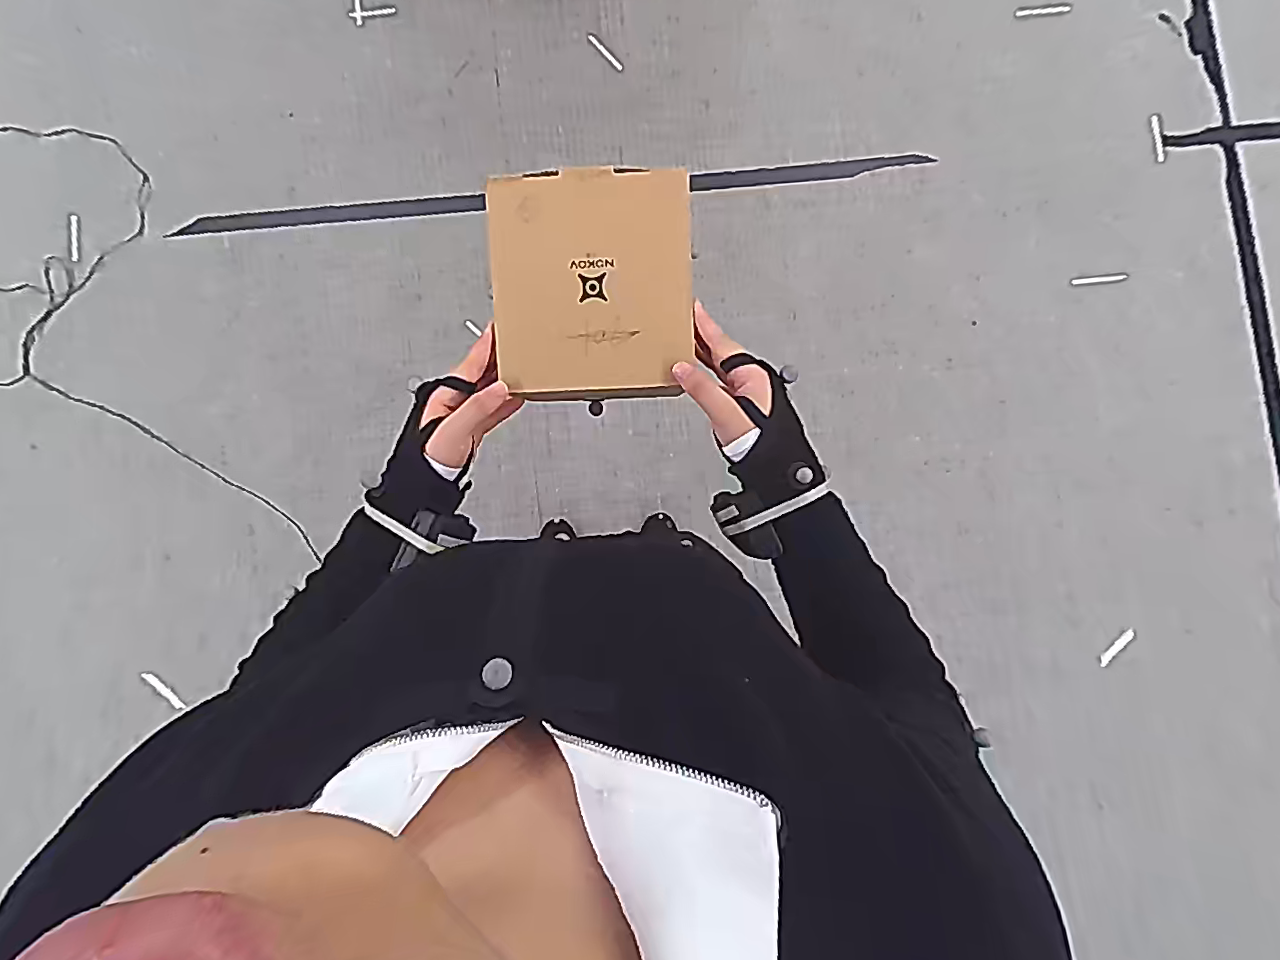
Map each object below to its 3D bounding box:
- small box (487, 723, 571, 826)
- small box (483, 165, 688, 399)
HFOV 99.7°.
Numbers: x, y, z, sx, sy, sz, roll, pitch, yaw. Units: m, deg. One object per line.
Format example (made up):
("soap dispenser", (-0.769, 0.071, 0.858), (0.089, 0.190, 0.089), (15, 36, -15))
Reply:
("small box", (-0.259, 0.704, 1.292), (0.168, 0.176, 0.179), (-2, 87, 1))
("small box", (-0.044, -0.173, 0.523), (0.168, 0.176, 0.179), (-2, 96, 0))
